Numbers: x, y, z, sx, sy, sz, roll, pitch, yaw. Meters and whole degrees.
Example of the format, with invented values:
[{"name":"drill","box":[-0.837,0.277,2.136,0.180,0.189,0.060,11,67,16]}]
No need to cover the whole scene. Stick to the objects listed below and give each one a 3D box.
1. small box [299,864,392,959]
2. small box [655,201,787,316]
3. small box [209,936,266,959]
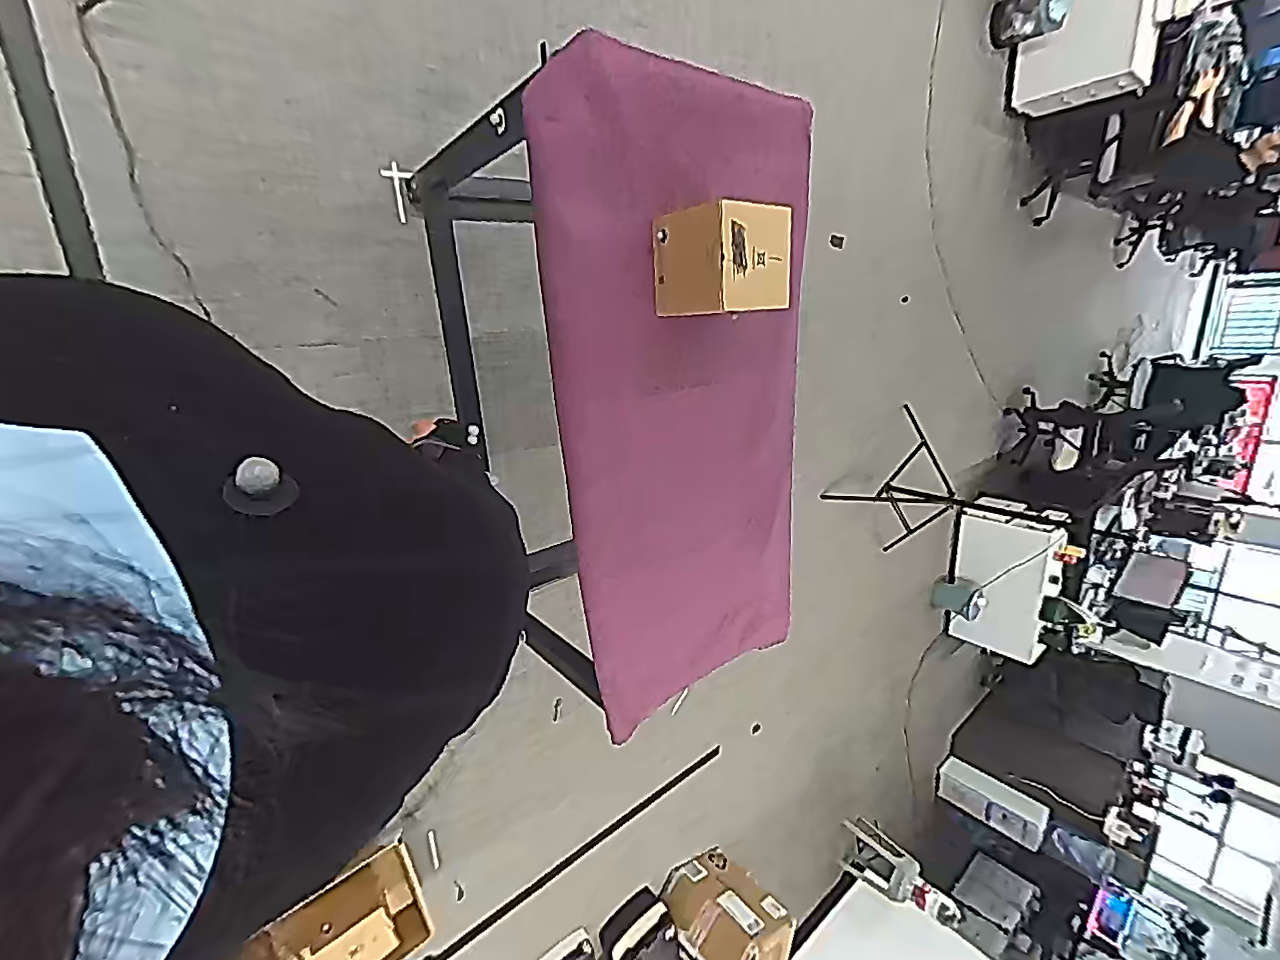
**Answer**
[{"name":"small box","box":[-0.801,1.208,1.463,0.179,0.176,0.168,-22,115,-33]},{"name":"small box","box":[0.138,-0.381,0.957,0.179,0.176,0.168,-16,111,-37]},{"name":"small box","box":[-1.002,1.283,1.316,0.168,0.176,0.179,-21,114,-36]}]
